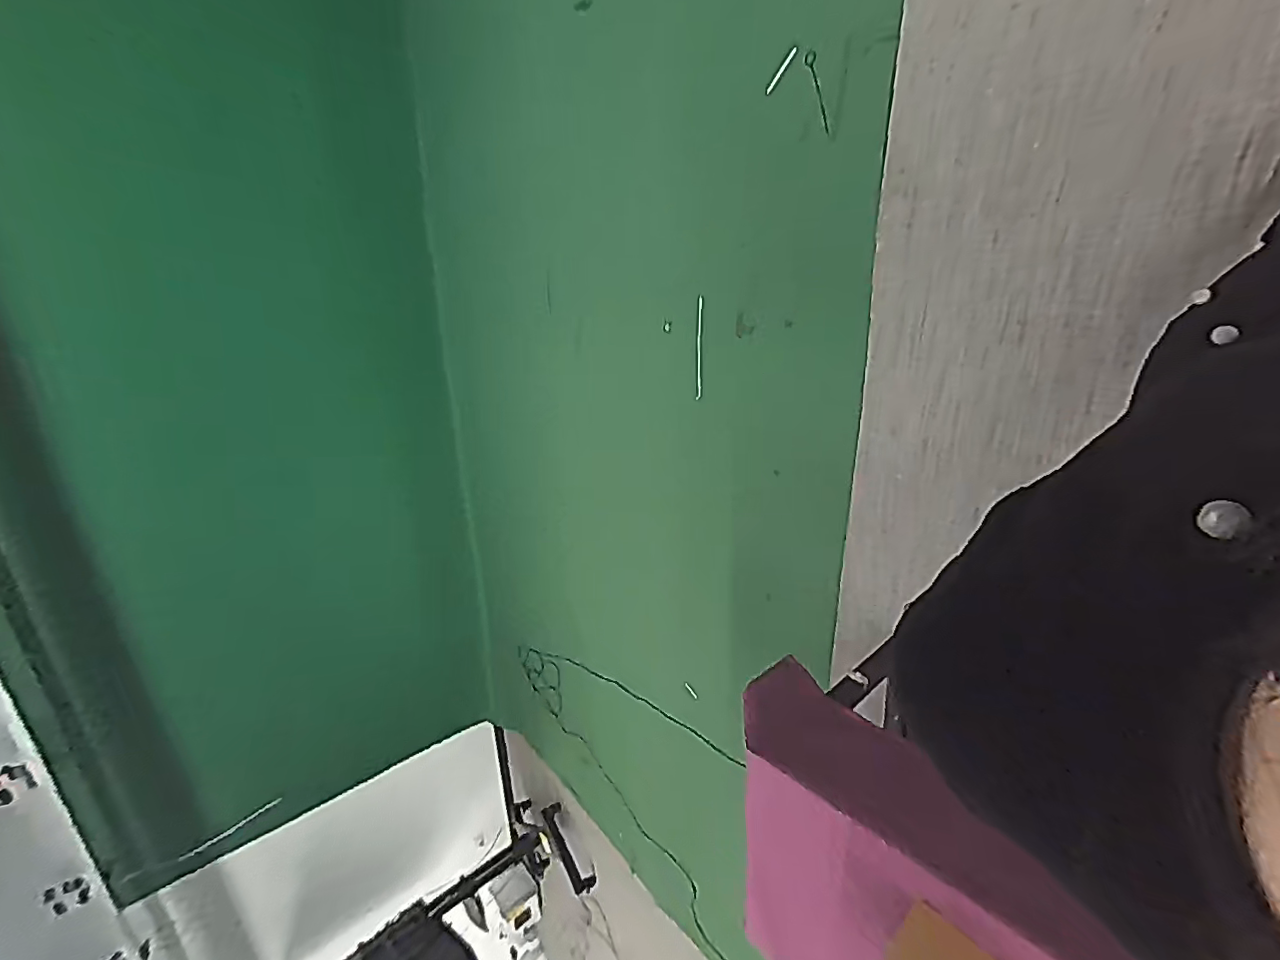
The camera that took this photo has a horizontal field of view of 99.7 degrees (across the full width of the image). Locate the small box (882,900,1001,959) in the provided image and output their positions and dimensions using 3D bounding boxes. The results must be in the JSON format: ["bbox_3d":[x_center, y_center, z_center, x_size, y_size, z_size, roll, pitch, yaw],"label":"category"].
[{"bbox_3d":[0.487,0.840,0.864,0.179,0.176,0.168,21,119,46],"label":"small box"}]
